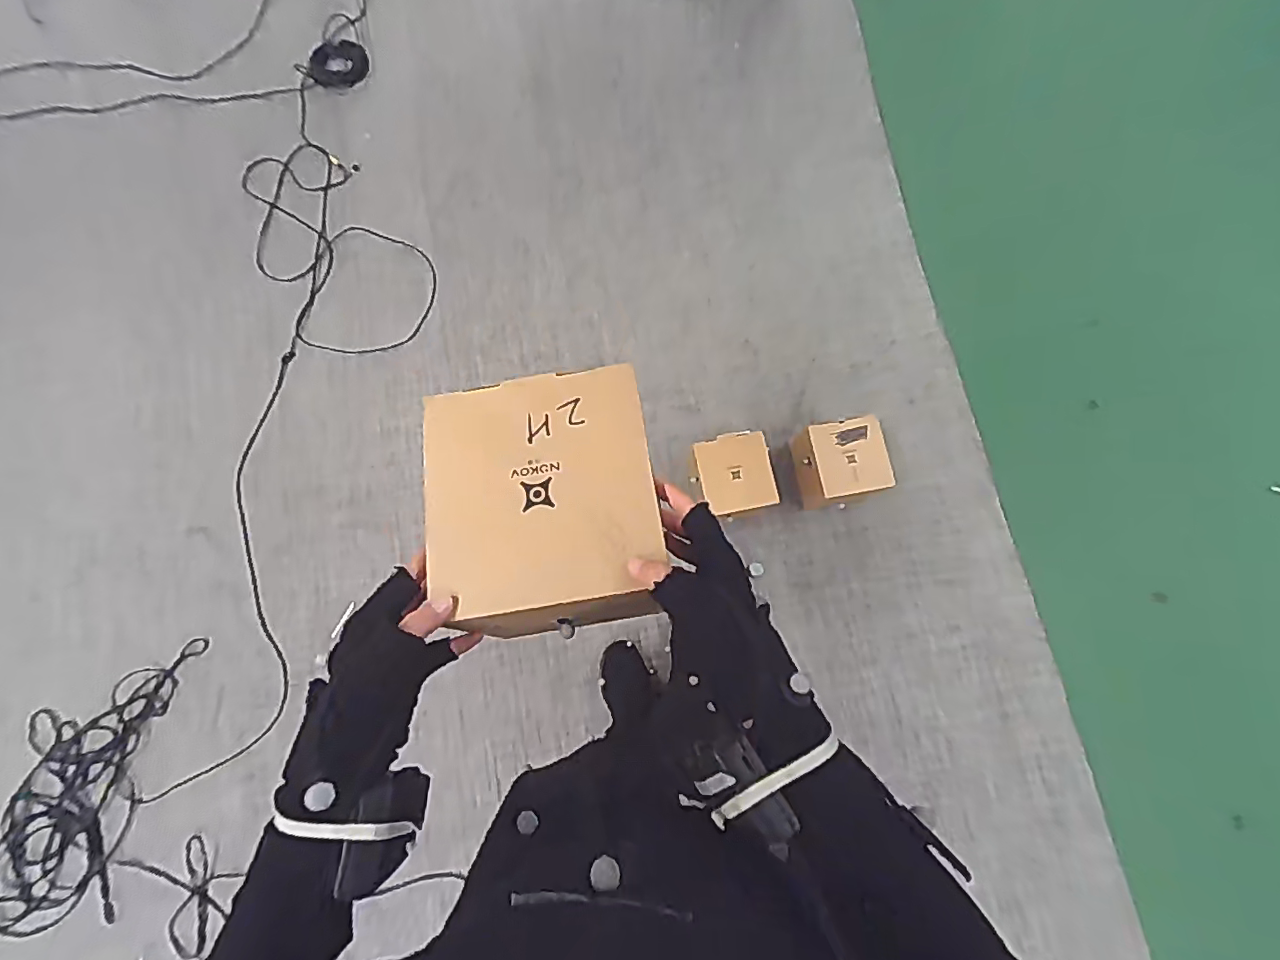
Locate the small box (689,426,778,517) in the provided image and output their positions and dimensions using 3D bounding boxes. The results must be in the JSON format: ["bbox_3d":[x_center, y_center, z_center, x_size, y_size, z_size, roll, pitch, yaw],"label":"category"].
[{"bbox_3d":[0.218,-0.012,1.300,0.168,0.176,0.179,-11,78,-1],"label":"small box"}]

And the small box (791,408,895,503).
[{"bbox_3d":[0.479,-0.053,1.302,0.168,0.176,0.179,-11,79,-1],"label":"small box"}]
